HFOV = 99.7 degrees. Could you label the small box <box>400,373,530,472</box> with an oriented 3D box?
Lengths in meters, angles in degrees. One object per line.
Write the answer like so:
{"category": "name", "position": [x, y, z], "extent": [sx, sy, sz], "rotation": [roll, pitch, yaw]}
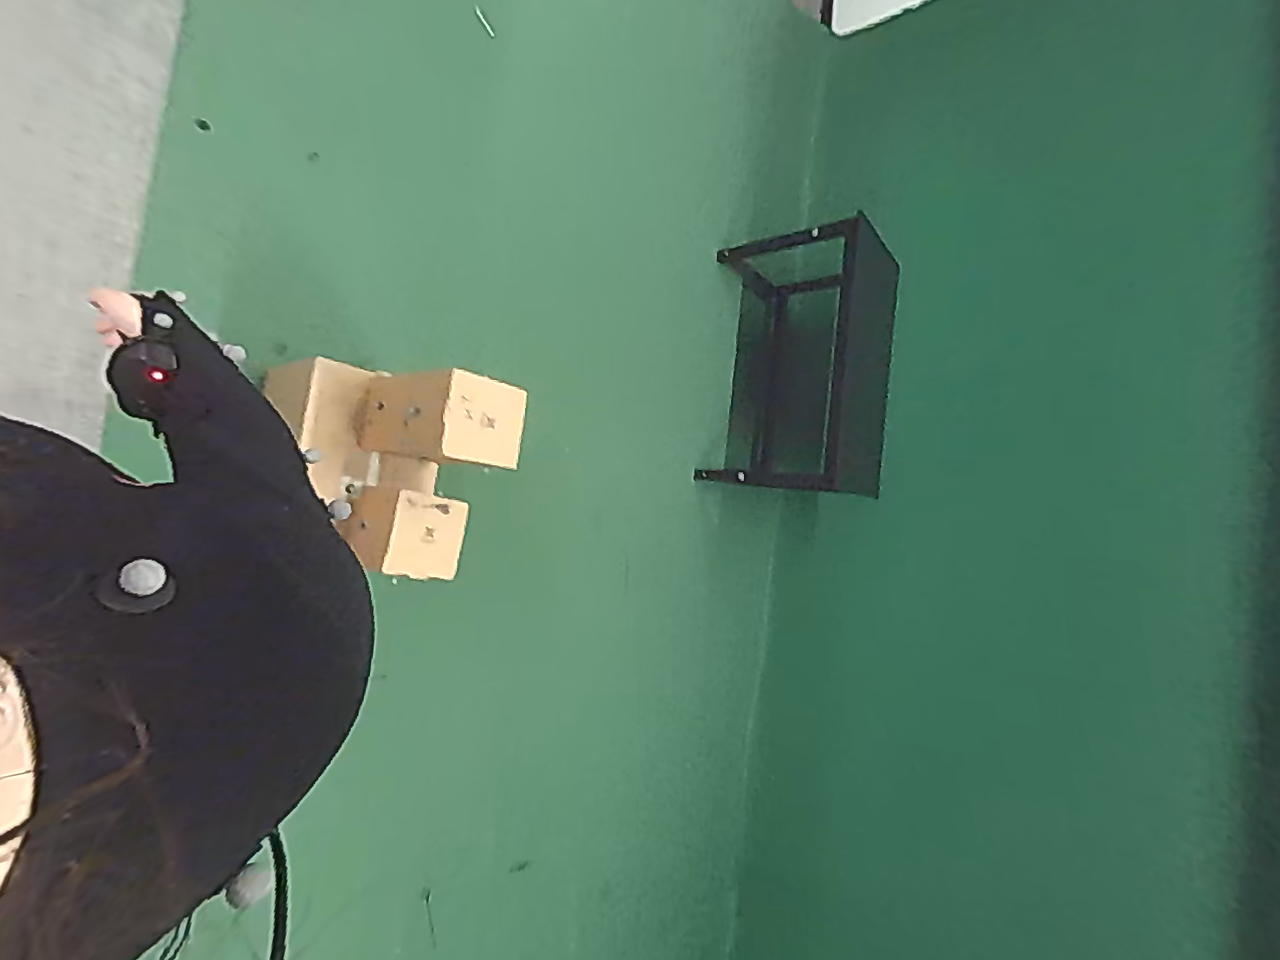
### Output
{"category": "small box", "position": [-0.354, -0.112, 1.098], "extent": [0.179, 0.176, 0.168], "rotation": [12, 84, -50]}

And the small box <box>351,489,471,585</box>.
{"category": "small box", "position": [-0.506, 0.123, 1.187], "extent": [0.168, 0.176, 0.179], "rotation": [21, 76, -50]}

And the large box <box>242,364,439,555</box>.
{"category": "large box", "position": [-0.711, -0.039, 1.312], "extent": [0.320, 0.320, 0.408], "rotation": [13, 84, -49]}

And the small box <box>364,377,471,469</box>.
{"category": "small box", "position": [-0.480, -0.123, 1.205], "extent": [0.179, 0.176, 0.168], "rotation": [13, 83, -50]}
